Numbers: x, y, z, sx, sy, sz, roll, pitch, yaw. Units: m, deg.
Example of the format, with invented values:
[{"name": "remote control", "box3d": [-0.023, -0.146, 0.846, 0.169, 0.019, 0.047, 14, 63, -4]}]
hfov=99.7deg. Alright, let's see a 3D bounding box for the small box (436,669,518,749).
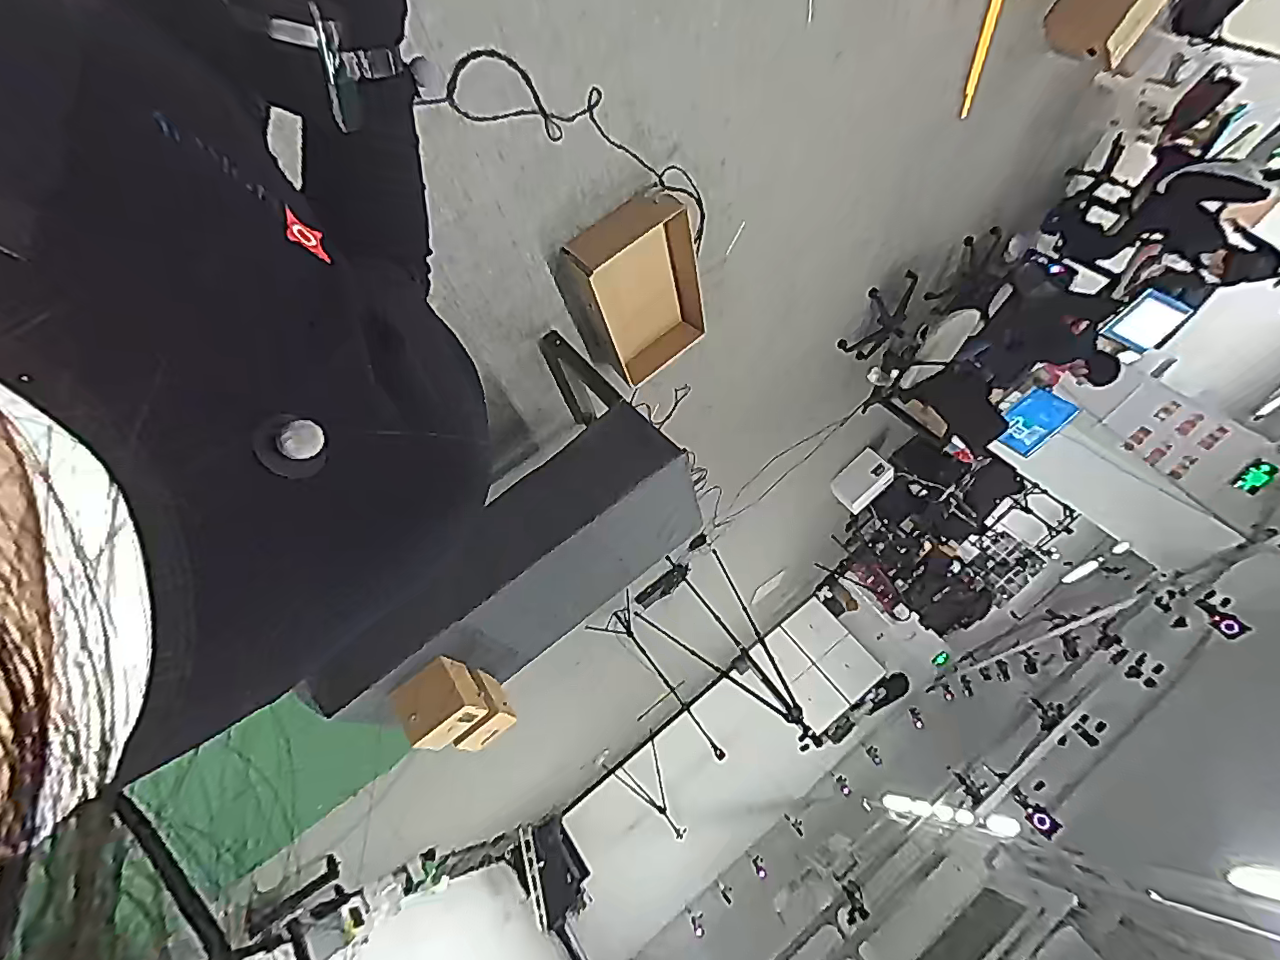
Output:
[{"name": "small box", "box3d": [-0.529, 0.744, 1.760, 0.168, 0.176, 0.179, -36, 151, -13]}]
